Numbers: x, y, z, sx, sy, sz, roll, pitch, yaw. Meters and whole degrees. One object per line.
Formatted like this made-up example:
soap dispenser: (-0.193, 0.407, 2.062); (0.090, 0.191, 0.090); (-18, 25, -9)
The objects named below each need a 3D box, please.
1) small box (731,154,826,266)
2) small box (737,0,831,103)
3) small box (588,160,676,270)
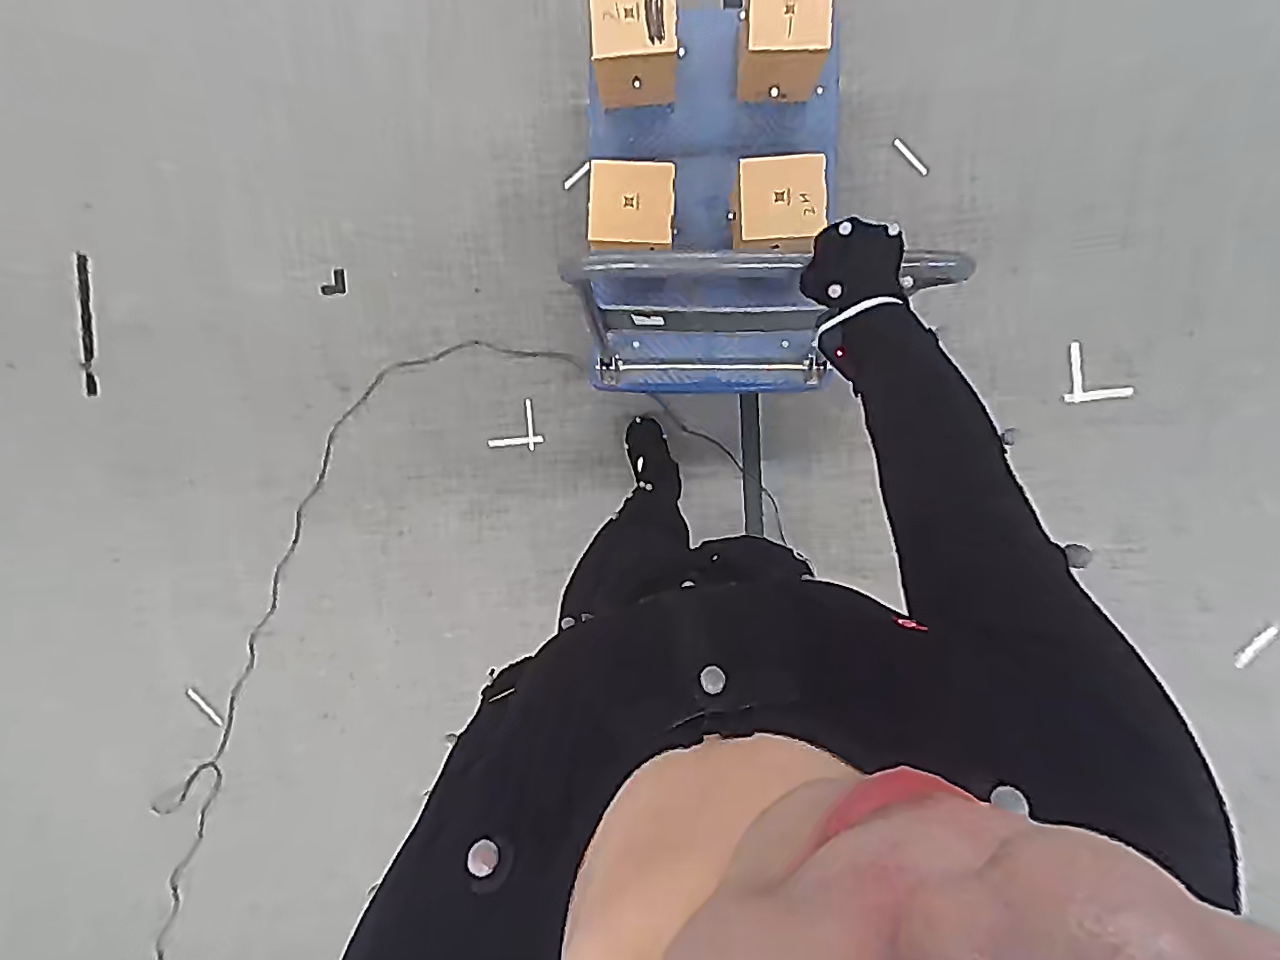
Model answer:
small box: (0.294, -0.579, 1.180); (0.179, 0.176, 0.168); (-2, 93, 2)
small box: (0.303, -0.955, 1.162); (0.168, 0.176, 0.179); (1, 94, 2)
small box: (-0.015, -0.575, 1.193); (0.179, 0.176, 0.168); (2, 92, 1)
